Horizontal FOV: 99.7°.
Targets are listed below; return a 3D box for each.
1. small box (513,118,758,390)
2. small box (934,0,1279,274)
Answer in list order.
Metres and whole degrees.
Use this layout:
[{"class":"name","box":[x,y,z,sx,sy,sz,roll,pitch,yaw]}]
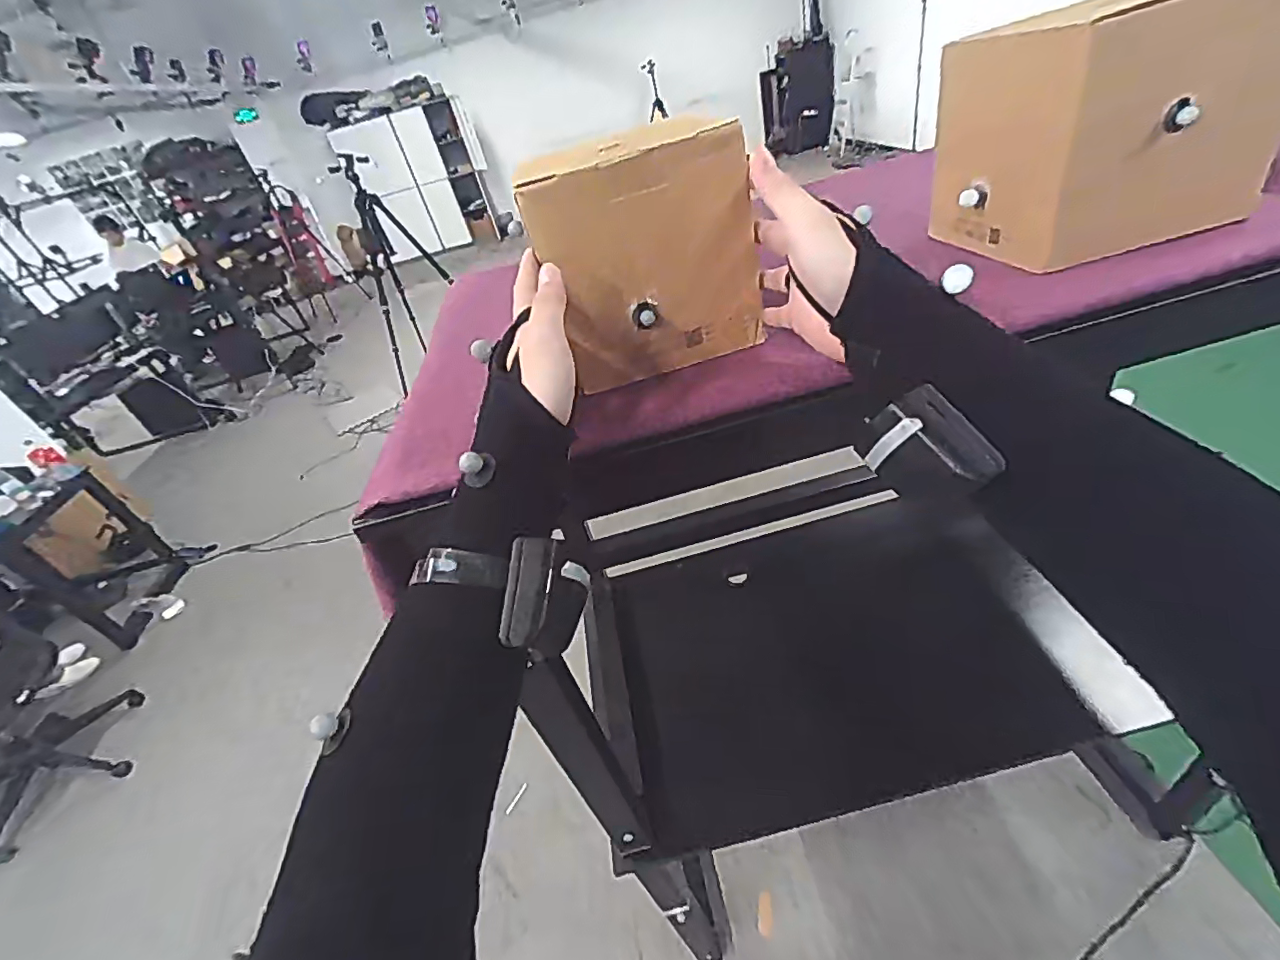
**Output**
[{"class":"small box","box":[-0.005,-0.204,0.485,0.168,0.176,0.179,-17,37,0]},{"class":"small box","box":[0.378,-0.297,0.456,0.179,0.176,0.168,-16,35,2]}]
